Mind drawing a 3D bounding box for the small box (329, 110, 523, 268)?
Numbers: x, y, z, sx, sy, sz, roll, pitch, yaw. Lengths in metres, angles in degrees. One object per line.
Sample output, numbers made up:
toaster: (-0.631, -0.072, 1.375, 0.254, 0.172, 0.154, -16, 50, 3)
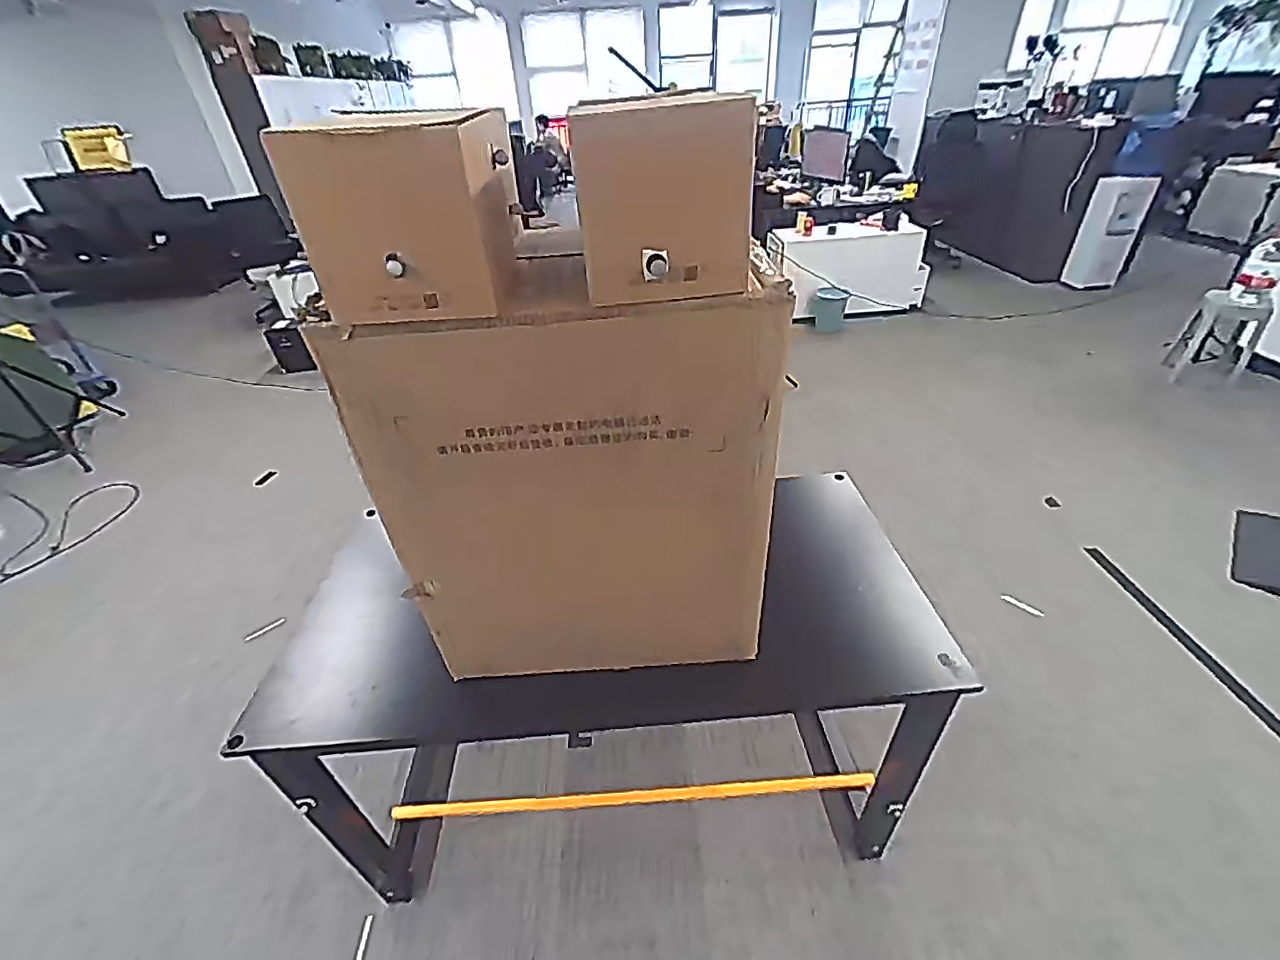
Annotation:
small box: (-0.266, -0.388, 0.723, 0.179, 0.176, 0.168, -3, 35, 0)

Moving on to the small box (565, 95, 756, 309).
small box: (0.017, -0.294, 0.570, 0.168, 0.176, 0.179, -8, 37, -1)
